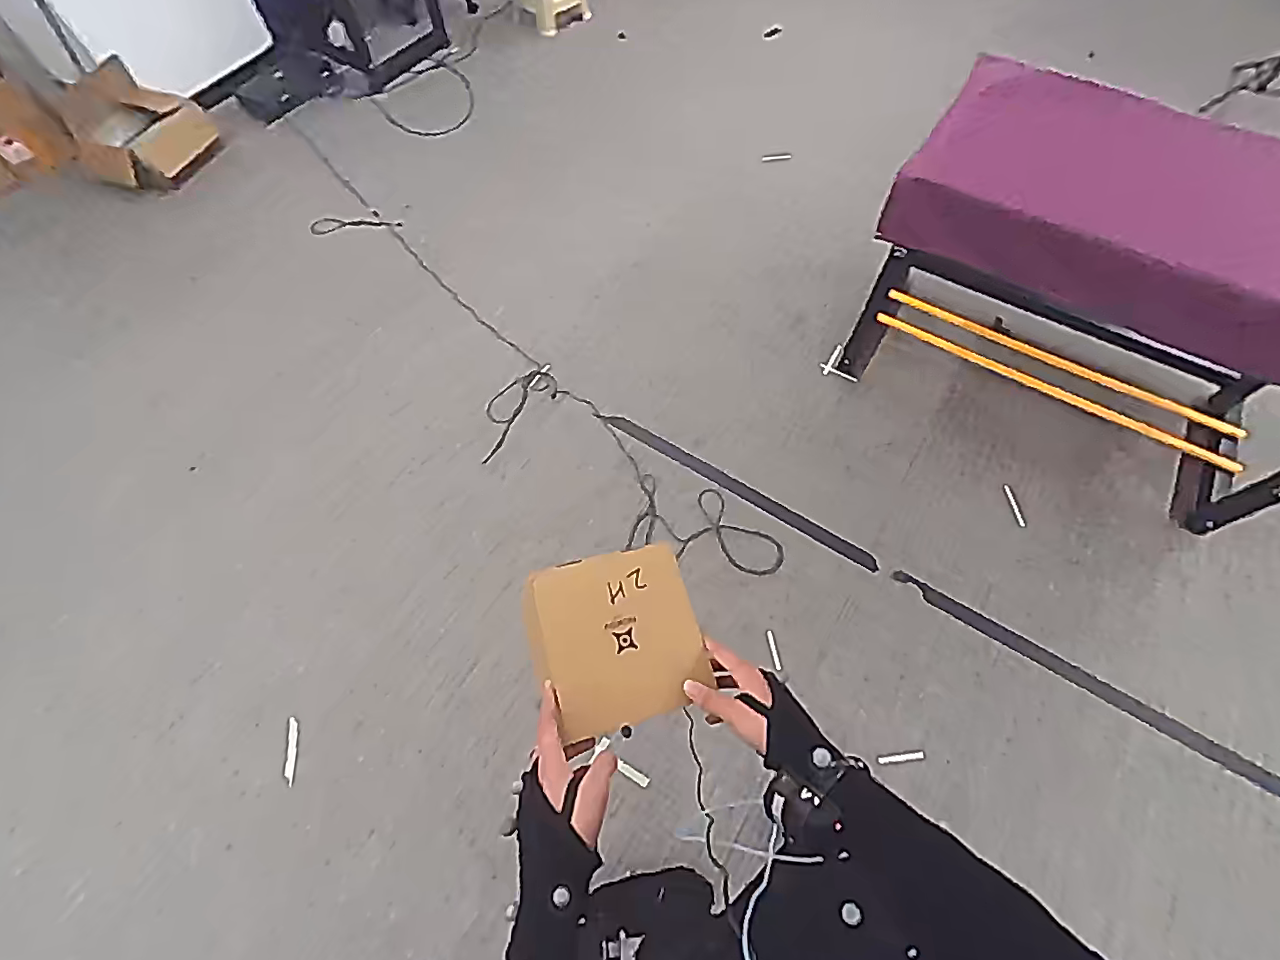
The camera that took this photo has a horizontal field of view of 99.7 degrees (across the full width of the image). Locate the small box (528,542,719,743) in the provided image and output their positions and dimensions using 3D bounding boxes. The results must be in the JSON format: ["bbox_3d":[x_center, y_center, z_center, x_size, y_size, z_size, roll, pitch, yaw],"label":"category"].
[{"bbox_3d":[-0.032,0.193,0.638,0.168,0.176,0.179,-9,67,-20],"label":"small box"}]
